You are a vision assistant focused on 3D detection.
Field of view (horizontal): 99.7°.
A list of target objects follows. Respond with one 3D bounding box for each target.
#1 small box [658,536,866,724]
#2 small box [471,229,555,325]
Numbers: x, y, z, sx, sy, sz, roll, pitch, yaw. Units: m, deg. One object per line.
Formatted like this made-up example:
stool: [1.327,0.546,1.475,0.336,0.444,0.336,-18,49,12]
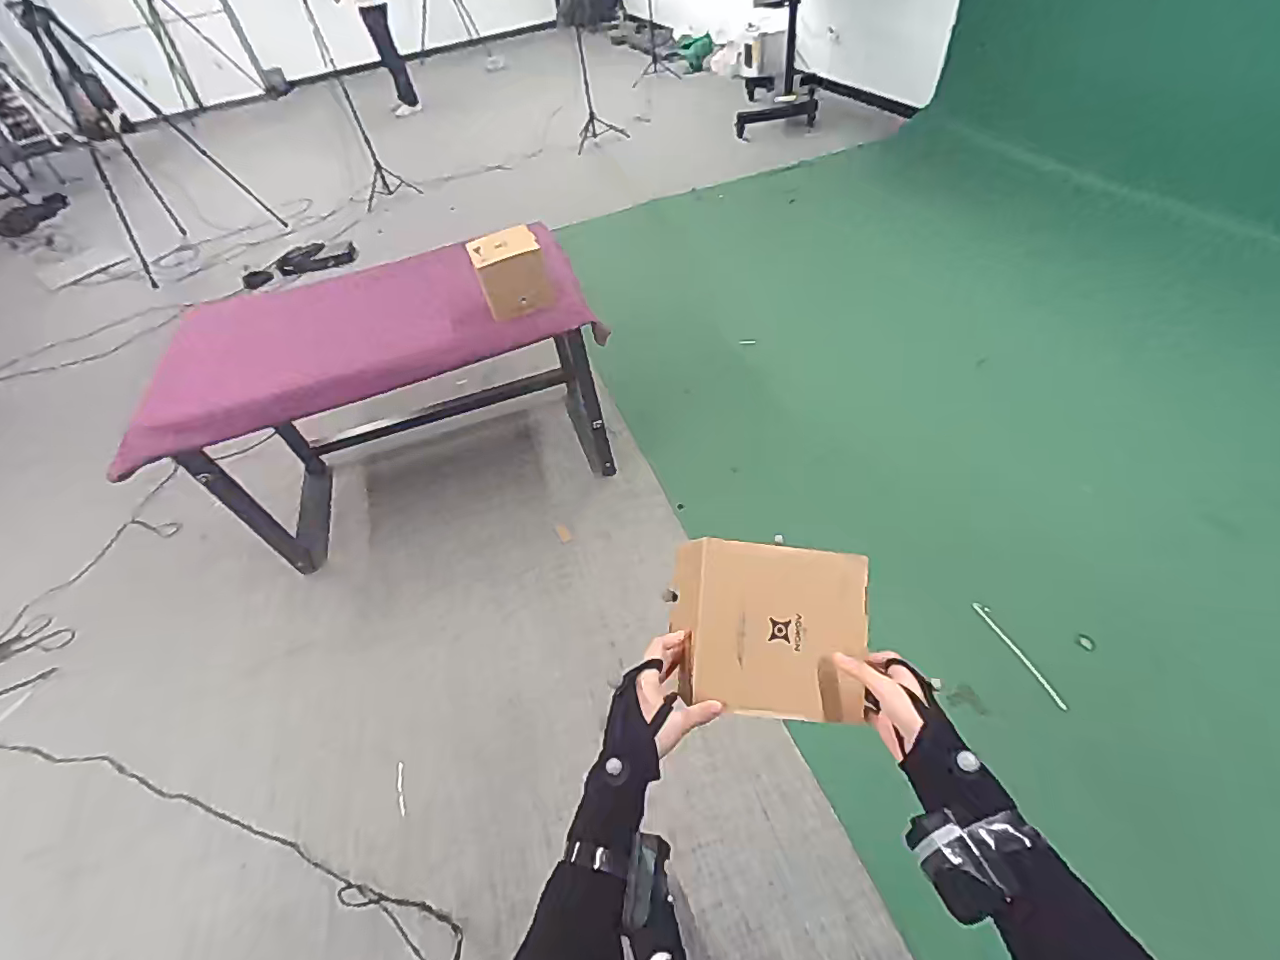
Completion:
small box: [0.125,0.158,0.605,0.179,0.176,0.168,7,79,-6]
small box: [-0.346,-0.562,1.501,0.179,0.176,0.168,-22,49,-9]
